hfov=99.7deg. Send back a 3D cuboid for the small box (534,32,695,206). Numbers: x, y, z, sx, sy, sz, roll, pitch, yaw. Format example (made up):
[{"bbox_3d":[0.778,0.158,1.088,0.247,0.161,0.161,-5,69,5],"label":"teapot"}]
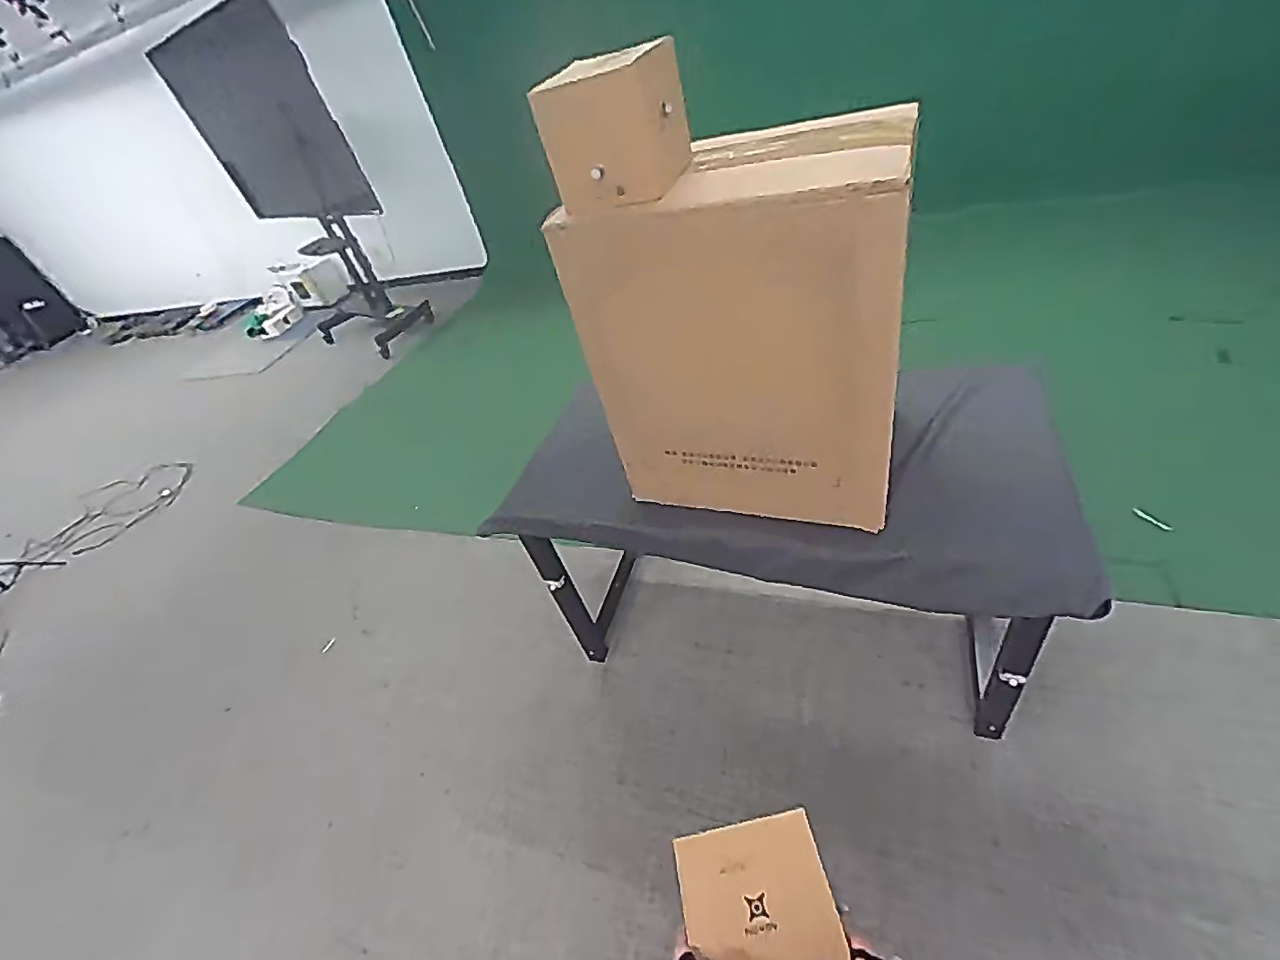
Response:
[{"bbox_3d":[-0.025,-0.534,0.812,0.168,0.176,0.179,6,48,26],"label":"small box"}]

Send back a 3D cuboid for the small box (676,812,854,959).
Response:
[{"bbox_3d":[0.151,0.531,0.637,0.168,0.176,0.179,-15,38,3],"label":"small box"}]
